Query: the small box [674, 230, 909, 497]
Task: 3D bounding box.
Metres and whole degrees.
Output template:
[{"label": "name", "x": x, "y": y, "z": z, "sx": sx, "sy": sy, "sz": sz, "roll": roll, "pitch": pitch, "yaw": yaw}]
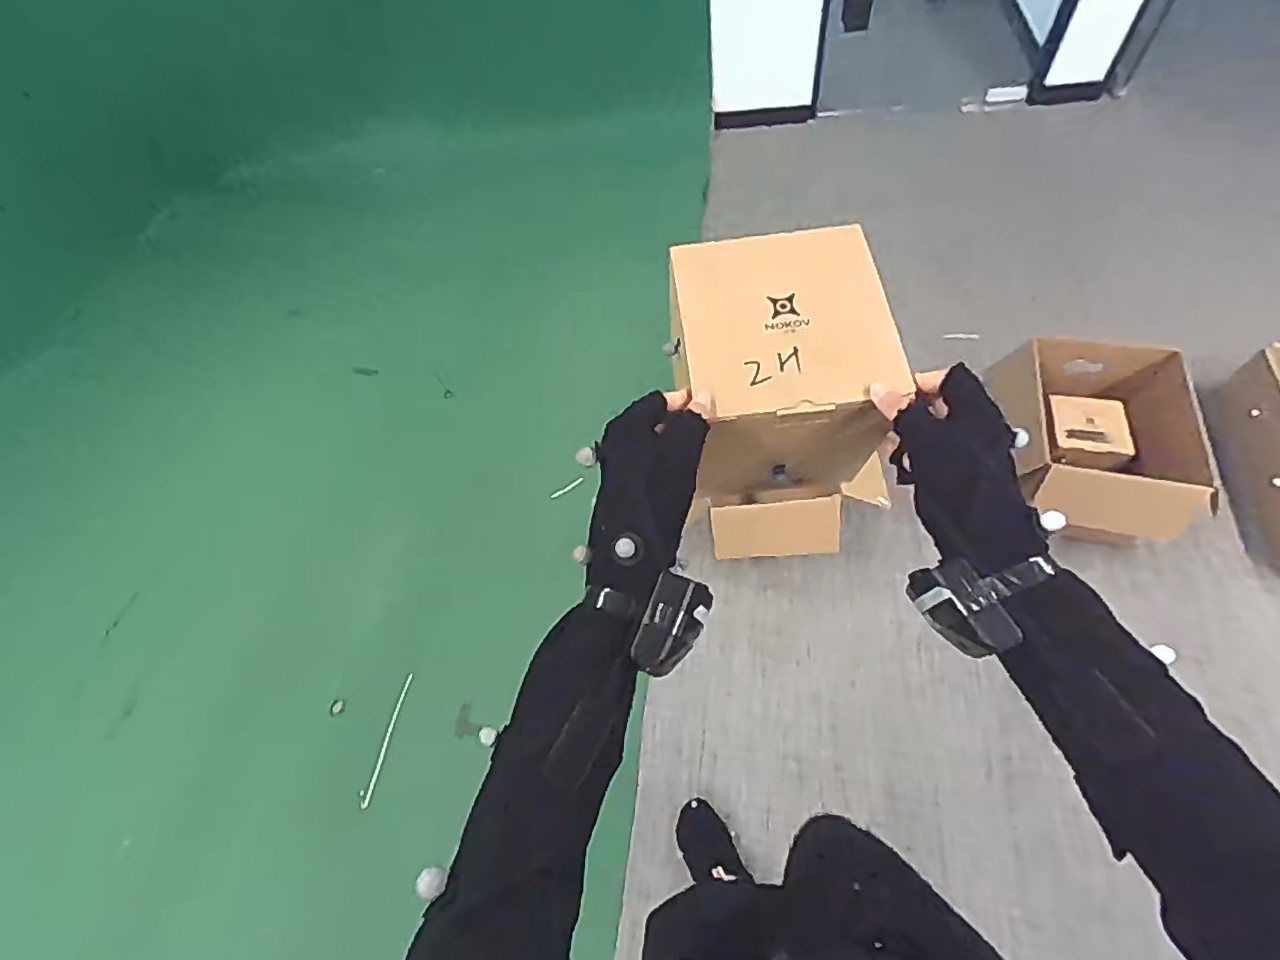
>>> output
[{"label": "small box", "x": 0.120, "y": -0.100, "z": 0.512, "sx": 0.168, "sy": 0.176, "sz": 0.179, "roll": -6, "pitch": 67, "yaw": 3}]
